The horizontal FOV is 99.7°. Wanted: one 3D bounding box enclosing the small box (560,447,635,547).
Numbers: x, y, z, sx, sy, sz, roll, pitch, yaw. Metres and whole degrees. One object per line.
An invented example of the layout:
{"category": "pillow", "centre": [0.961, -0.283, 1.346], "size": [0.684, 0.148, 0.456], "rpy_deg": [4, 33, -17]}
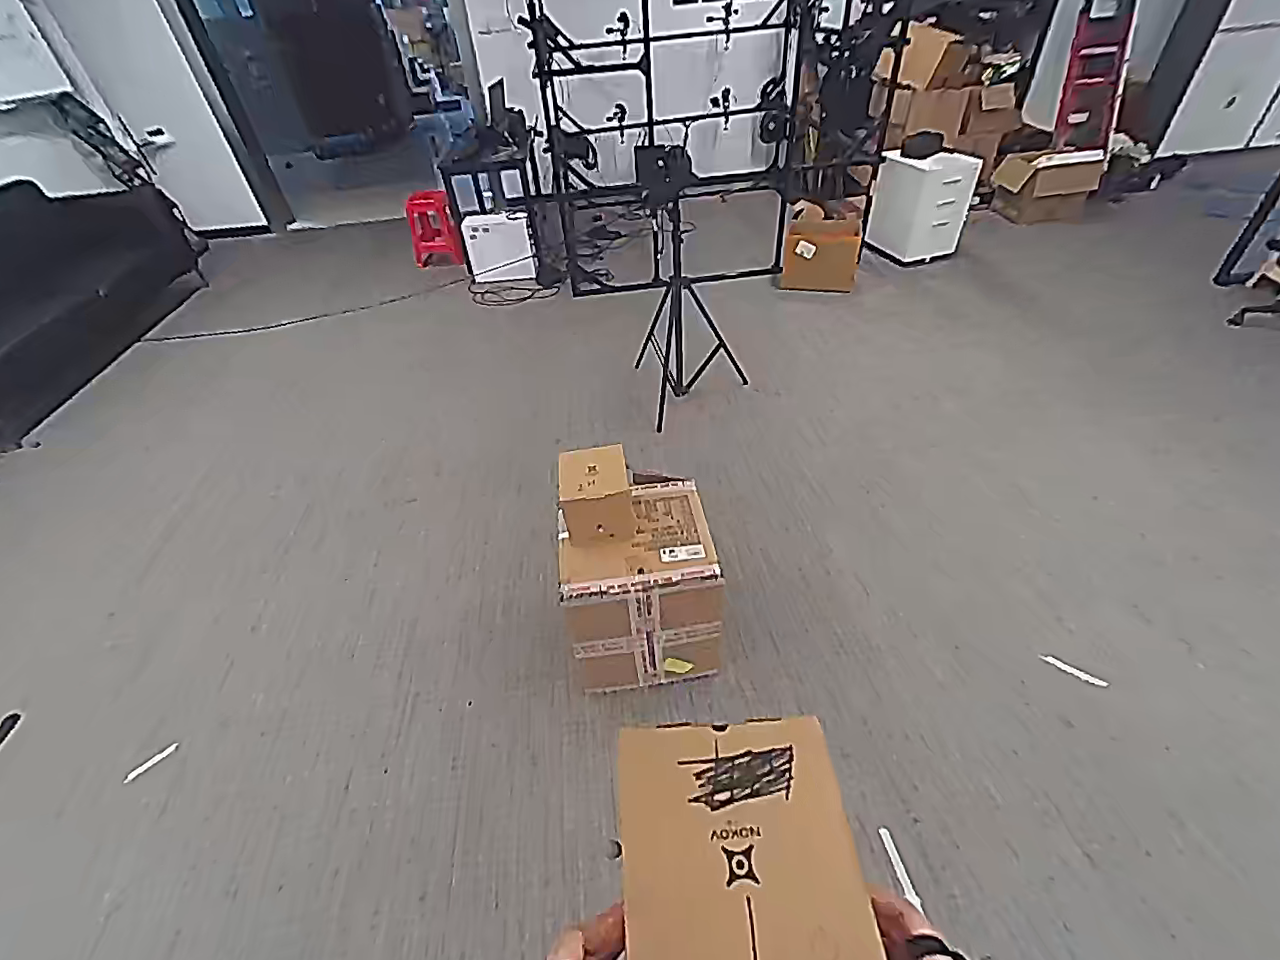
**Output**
{"category": "small box", "centre": [-0.107, 0.043, 1.367], "size": [0.168, 0.176, 0.179], "rpy_deg": [-9, 44, -1]}
